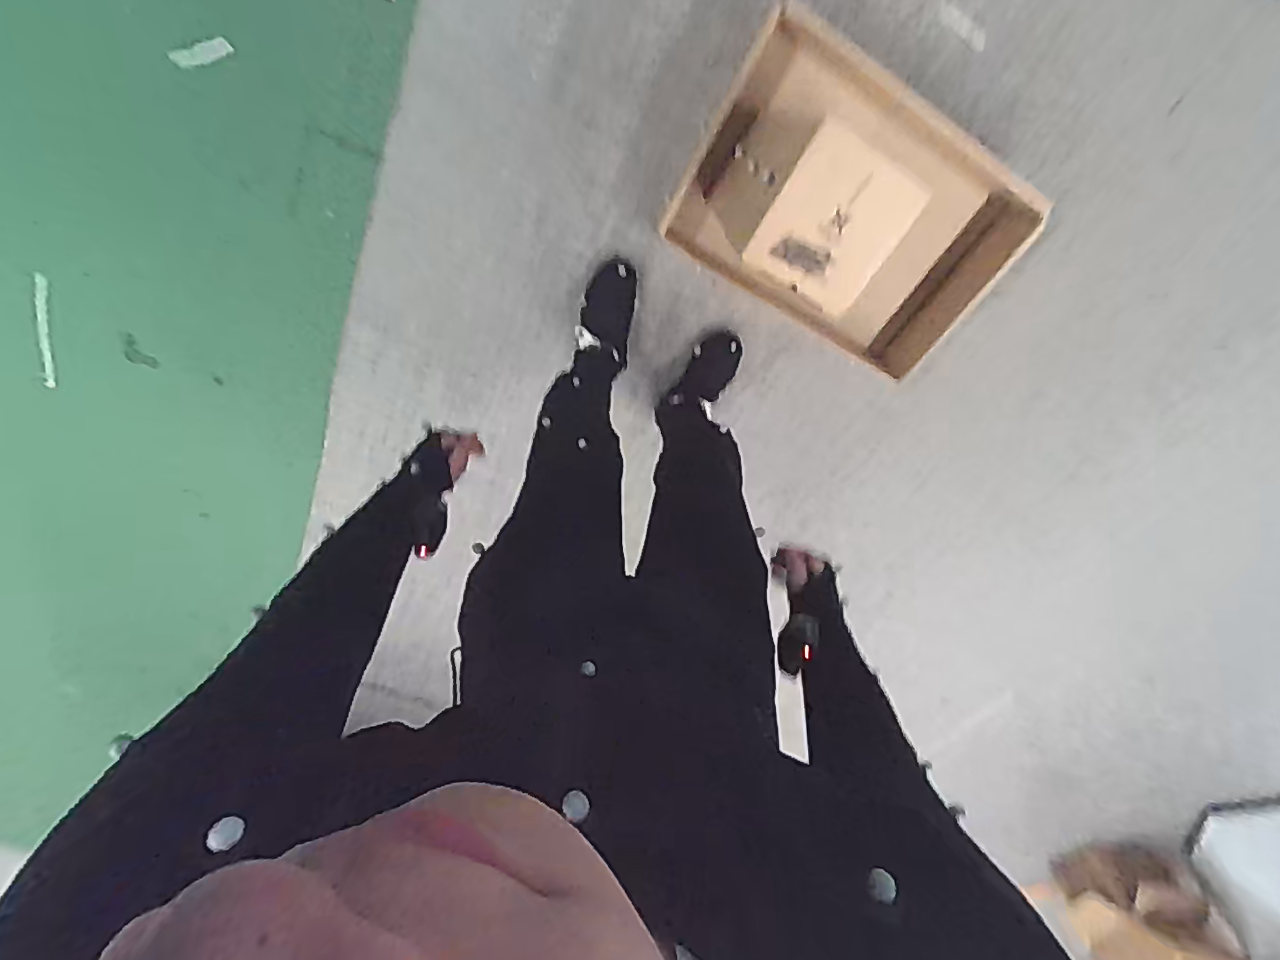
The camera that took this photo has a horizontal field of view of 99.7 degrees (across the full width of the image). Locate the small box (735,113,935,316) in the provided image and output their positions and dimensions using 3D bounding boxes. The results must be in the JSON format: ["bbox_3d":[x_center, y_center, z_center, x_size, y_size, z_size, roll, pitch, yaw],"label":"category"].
[{"bbox_3d":[0.245,-0.360,0.732,0.168,0.176,0.179,25,120,-16],"label":"small box"}]

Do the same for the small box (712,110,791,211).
[{"bbox_3d":[0.249,-0.548,1.000,0.168,0.176,0.179,26,120,-17],"label":"small box"}]

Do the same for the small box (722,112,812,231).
[{"bbox_3d":[0.247,-0.453,0.867,0.168,0.176,0.179,27,120,-16],"label":"small box"}]
